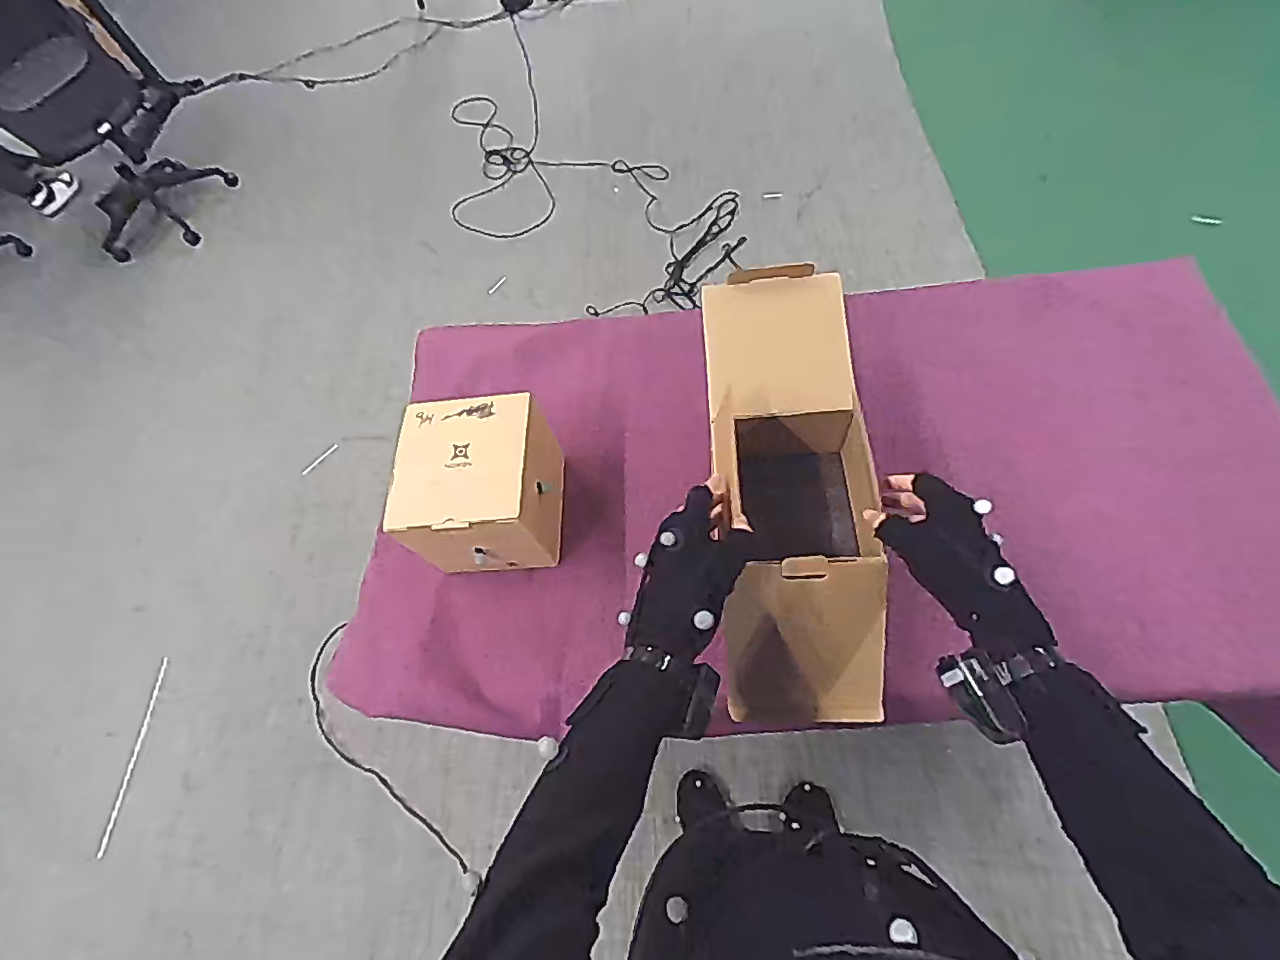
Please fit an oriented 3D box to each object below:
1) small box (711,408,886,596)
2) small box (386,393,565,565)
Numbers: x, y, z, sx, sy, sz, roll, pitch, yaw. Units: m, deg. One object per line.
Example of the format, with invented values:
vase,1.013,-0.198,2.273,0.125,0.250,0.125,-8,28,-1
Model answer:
small box,0.173,0.037,0.644,0.168,0.176,0.179,-3,63,7
small box,-0.202,0.010,0.716,0.168,0.176,0.179,-4,64,7
